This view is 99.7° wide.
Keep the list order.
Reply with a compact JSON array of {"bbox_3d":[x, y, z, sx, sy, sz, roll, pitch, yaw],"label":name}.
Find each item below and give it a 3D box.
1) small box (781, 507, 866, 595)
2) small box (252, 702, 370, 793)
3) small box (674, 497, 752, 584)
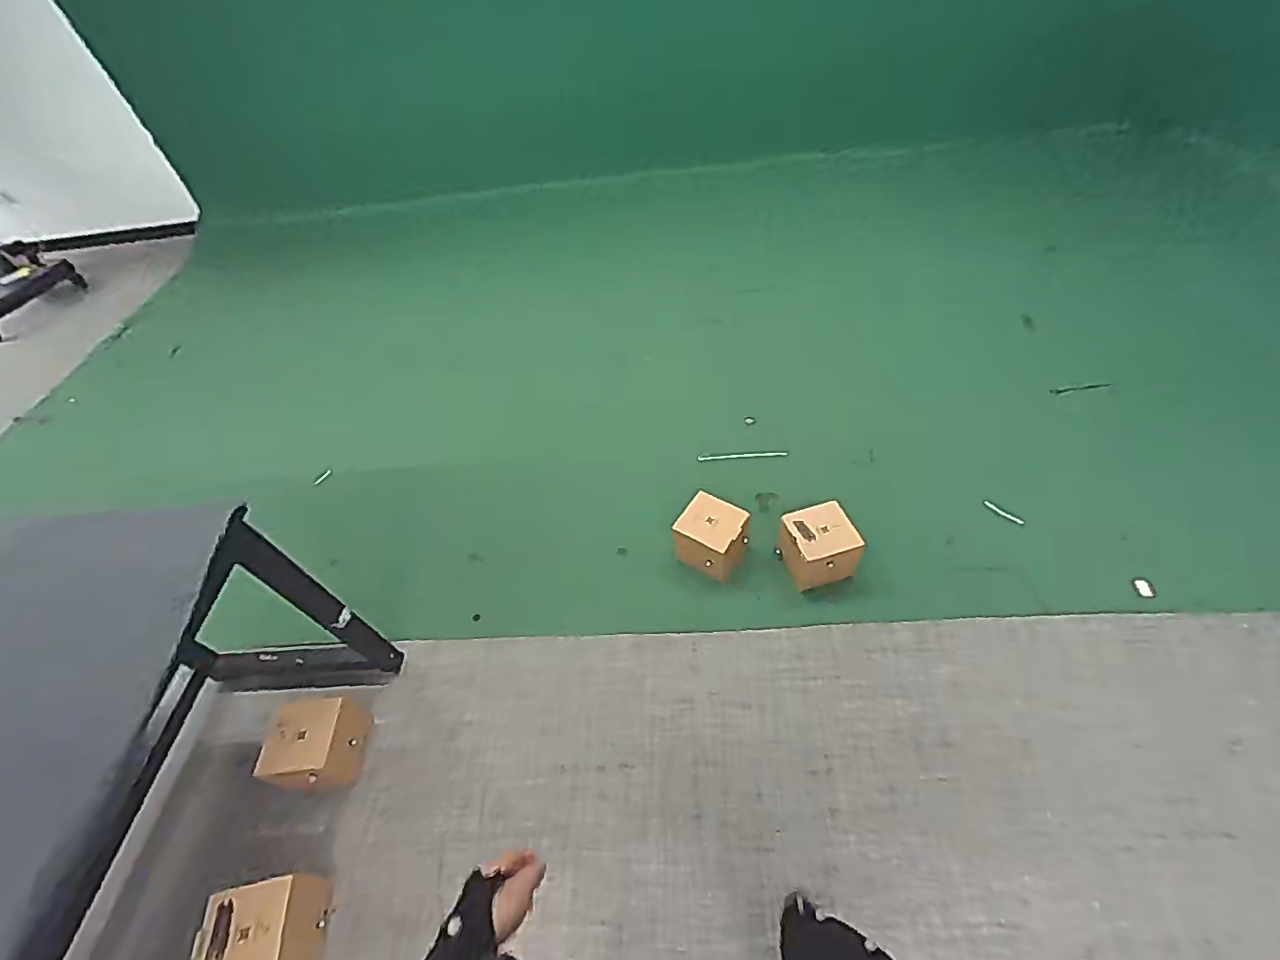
[{"bbox_3d":[0.522,0.211,1.570,0.179,0.176,0.168,-15,50,-6],"label":"small box"},{"bbox_3d":[-0.817,0.678,1.366,0.179,0.176,0.168,-7,49,2],"label":"small box"},{"bbox_3d":[0.221,0.189,1.631,0.179,0.176,0.168,25,57,26],"label":"small box"}]
